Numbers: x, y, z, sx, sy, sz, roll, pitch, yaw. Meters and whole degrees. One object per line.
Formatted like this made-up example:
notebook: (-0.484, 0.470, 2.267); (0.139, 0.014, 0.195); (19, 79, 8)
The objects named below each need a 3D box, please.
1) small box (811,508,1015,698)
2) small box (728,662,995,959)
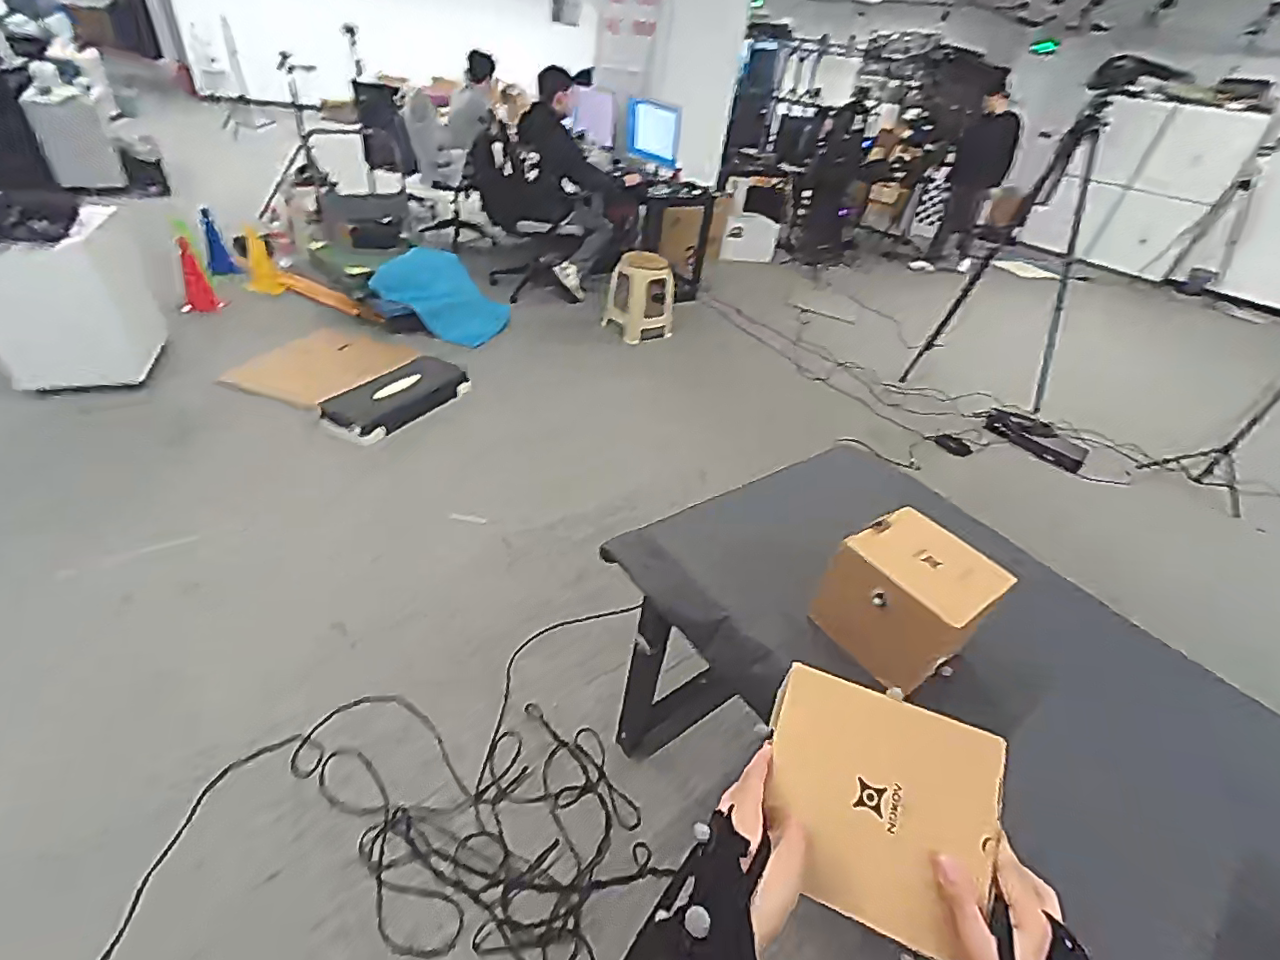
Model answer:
small box: (0.381, 0.175, 0.786); (0.168, 0.176, 0.179); (-19, 46, -32)
small box: (0.185, 0.291, 0.492); (0.179, 0.176, 0.168); (16, 64, 16)
